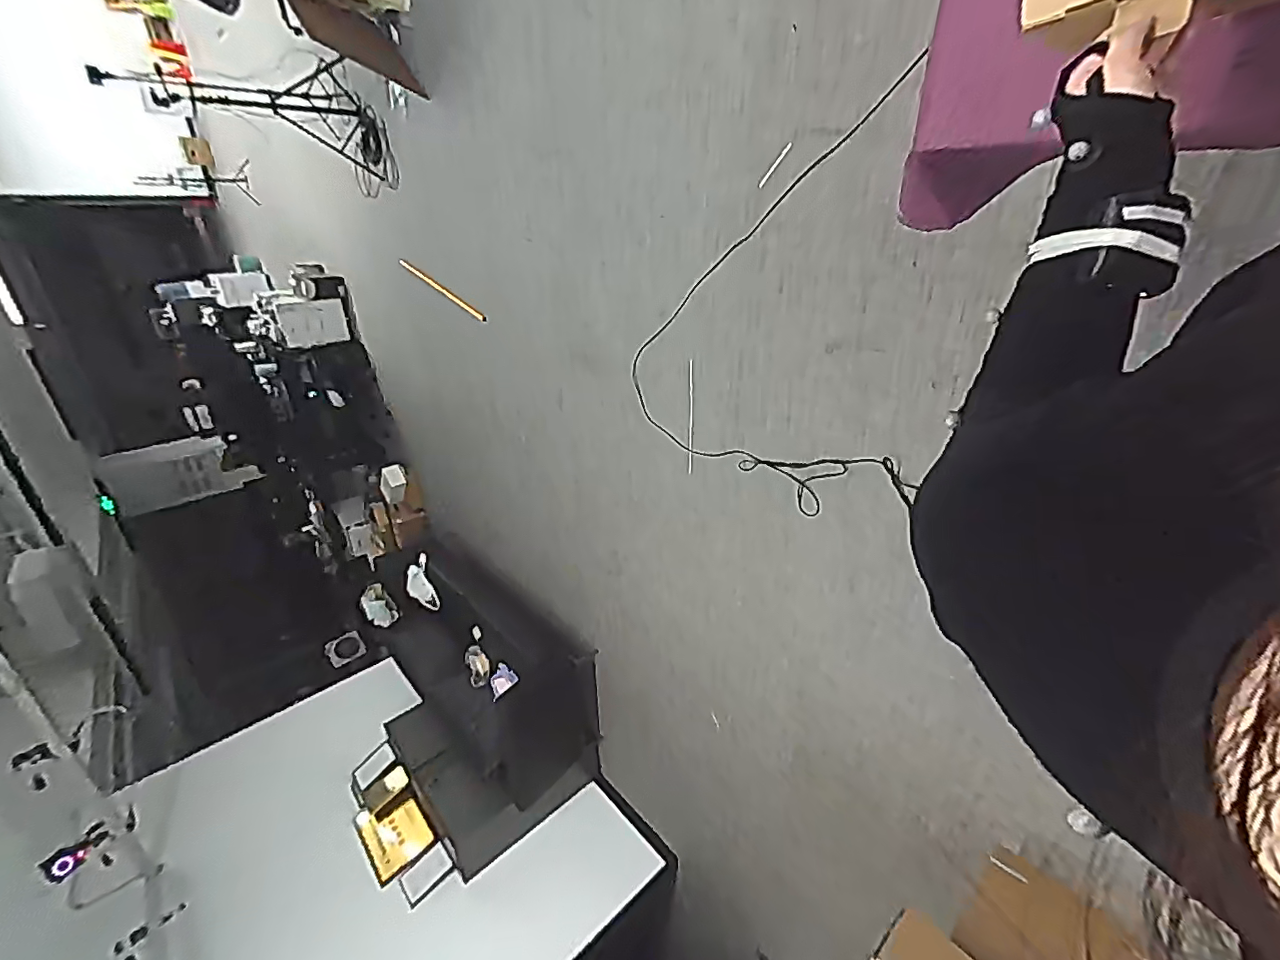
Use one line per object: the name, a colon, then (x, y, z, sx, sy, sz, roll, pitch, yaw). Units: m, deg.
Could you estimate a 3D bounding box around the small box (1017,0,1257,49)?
small box: (0.421, -0.467, 0.416, 0.168, 0.176, 0.179, 15, 119, 47)
